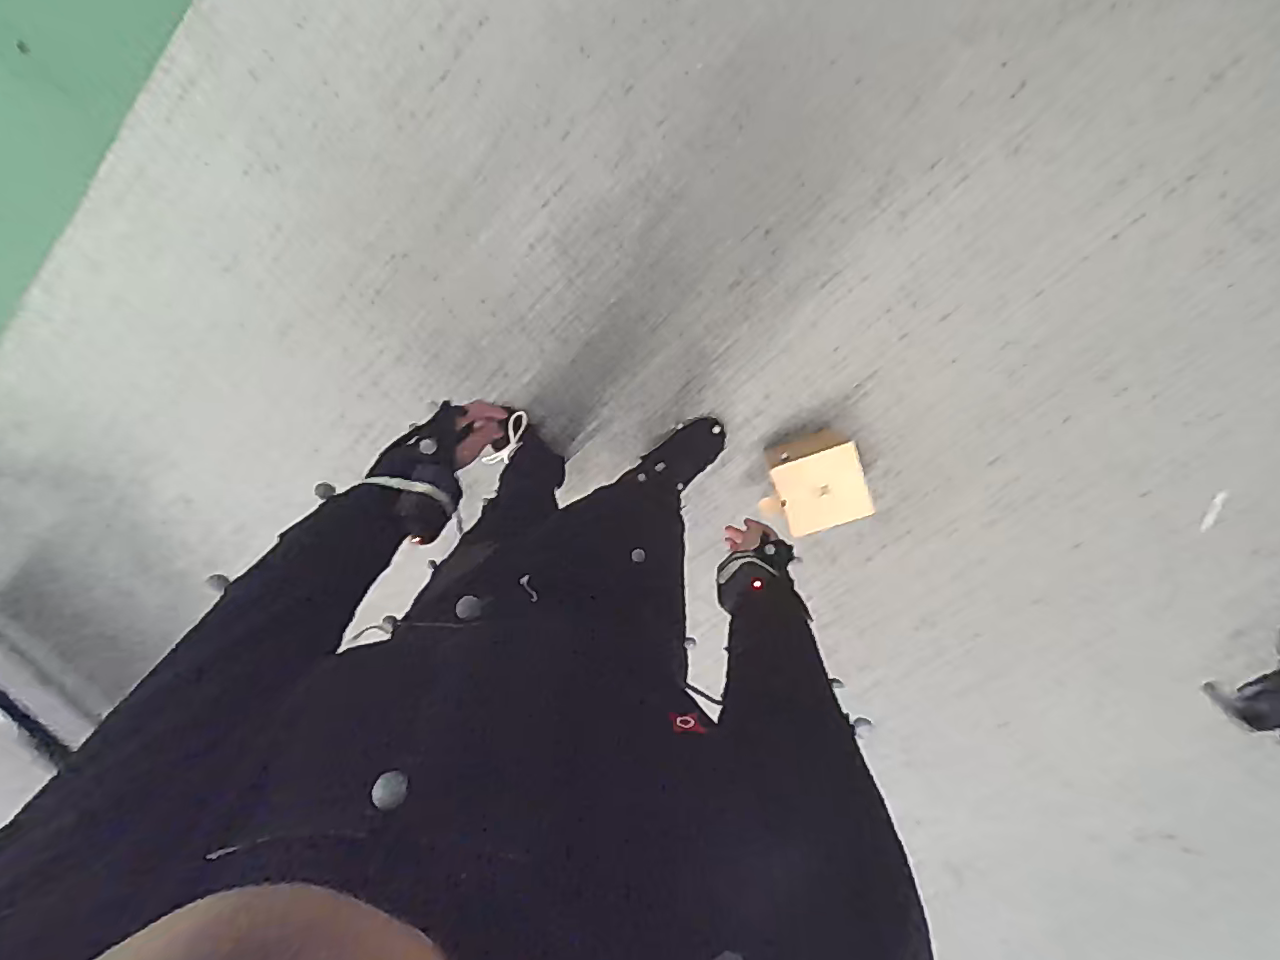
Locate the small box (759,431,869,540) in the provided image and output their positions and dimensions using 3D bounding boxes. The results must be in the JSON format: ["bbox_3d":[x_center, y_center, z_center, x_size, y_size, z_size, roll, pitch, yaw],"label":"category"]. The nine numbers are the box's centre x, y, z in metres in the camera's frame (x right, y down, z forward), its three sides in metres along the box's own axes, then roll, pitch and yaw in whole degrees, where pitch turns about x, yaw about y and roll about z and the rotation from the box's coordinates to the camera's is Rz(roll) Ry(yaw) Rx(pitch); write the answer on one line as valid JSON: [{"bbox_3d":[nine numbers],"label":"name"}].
[{"bbox_3d":[0.376,0.005,1.194,0.179,0.176,0.168,-19,103,13],"label":"small box"}]
